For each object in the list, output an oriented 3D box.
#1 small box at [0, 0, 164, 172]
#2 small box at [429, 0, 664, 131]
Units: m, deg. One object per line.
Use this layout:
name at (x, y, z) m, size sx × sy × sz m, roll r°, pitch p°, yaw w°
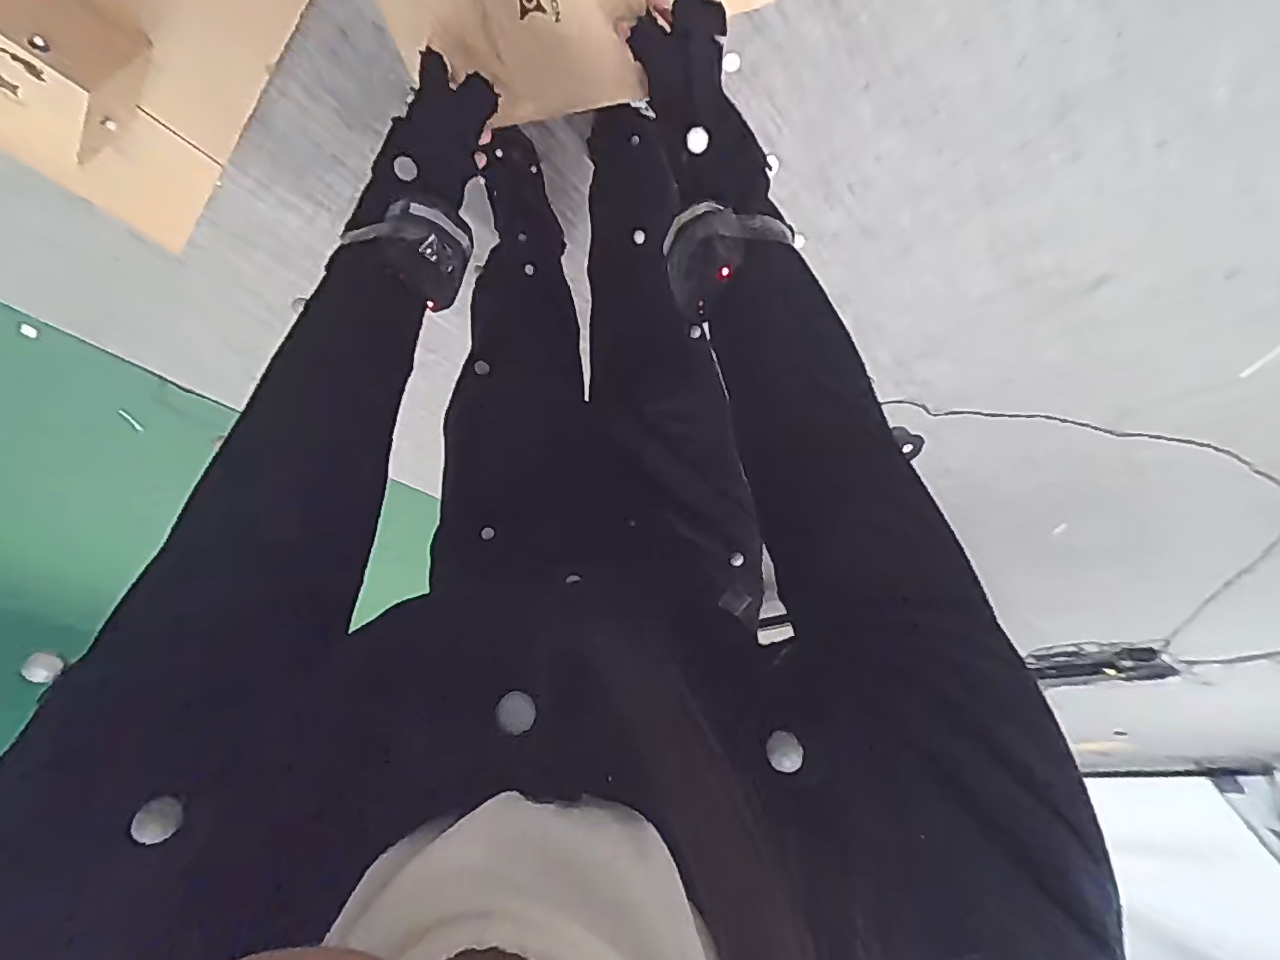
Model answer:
small box at (-0.866, -0.624, 0.815) m, size 0.168 × 0.176 × 0.179 m, roll 31°, pitch 139°, yaw -33°
small box at (-0.075, -0.445, 0.471) m, size 0.179 × 0.176 × 0.168 m, roll -3°, pitch 145°, yaw 12°
